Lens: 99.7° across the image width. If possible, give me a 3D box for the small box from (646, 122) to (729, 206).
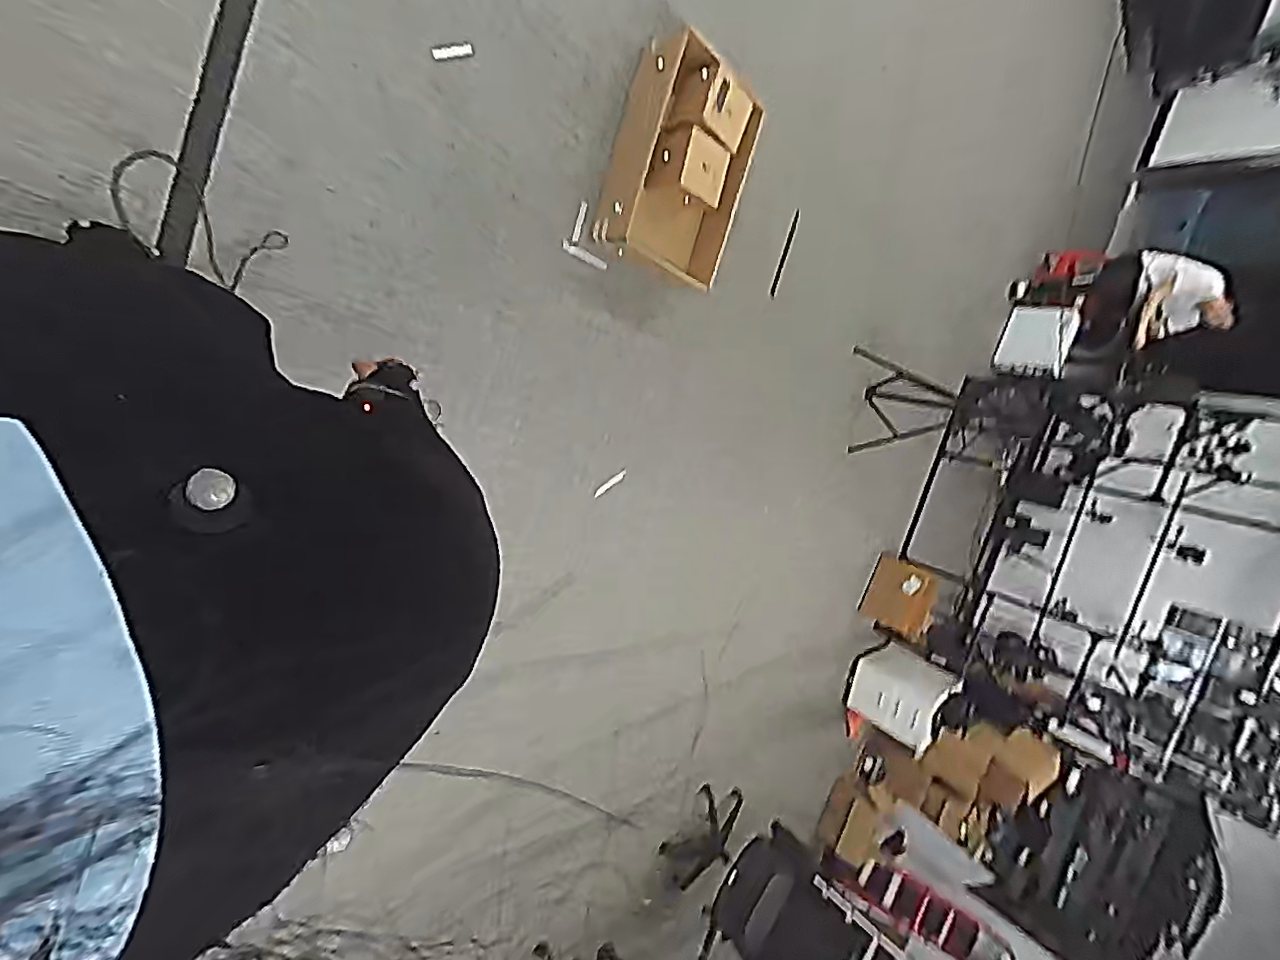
[{"bbox_3d":[0.144,-0.978,1.694,0.179,0.176,0.168,7,102,-43],"label":"small box"}]
